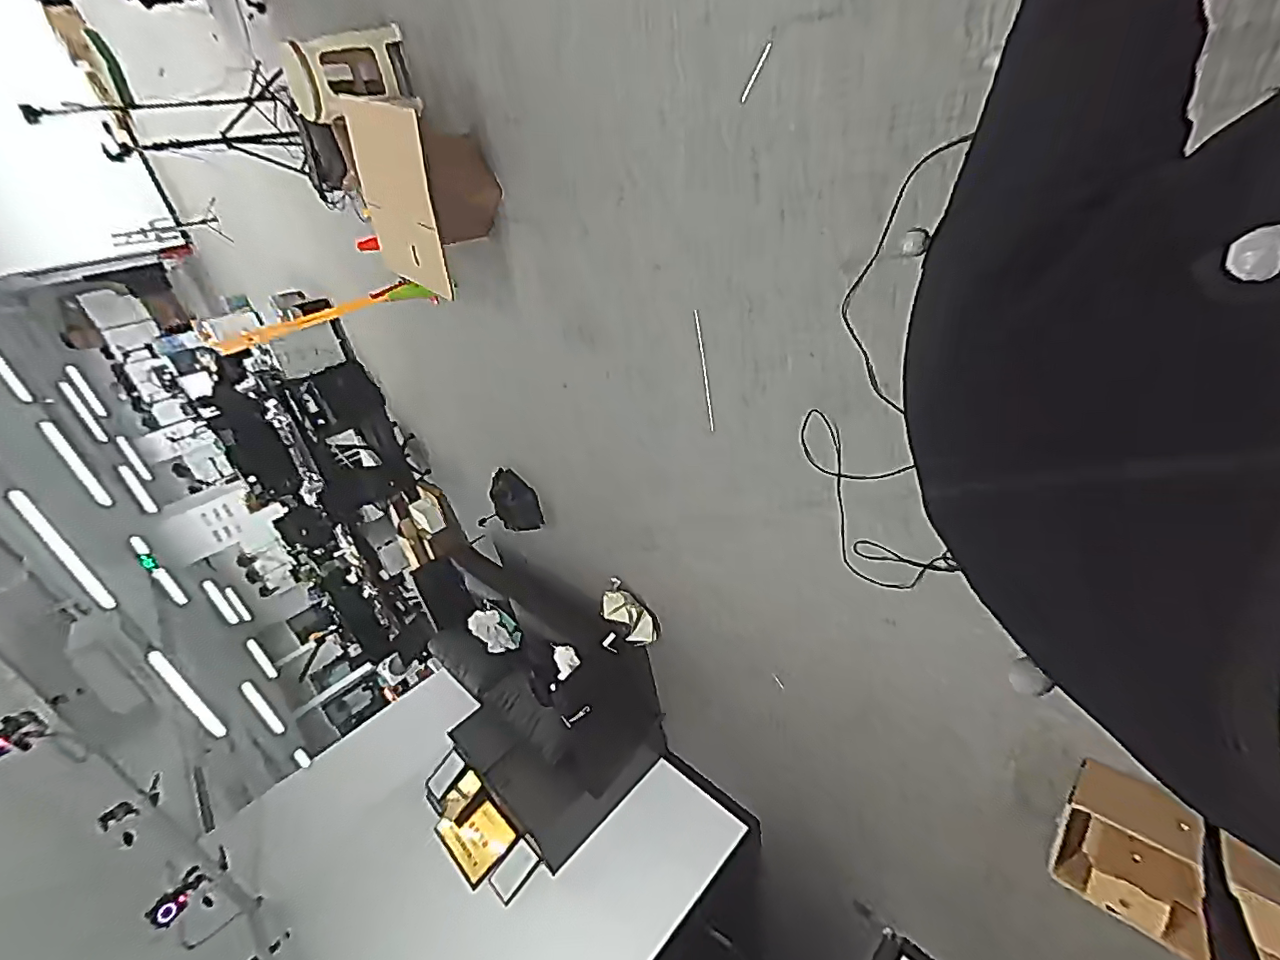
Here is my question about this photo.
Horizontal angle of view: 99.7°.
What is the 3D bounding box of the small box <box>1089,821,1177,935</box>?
[{"bbox_3d":[1.428,1.142,1.567,0.168,0.176,0.179,10,126,45],"label":"small box"}]
